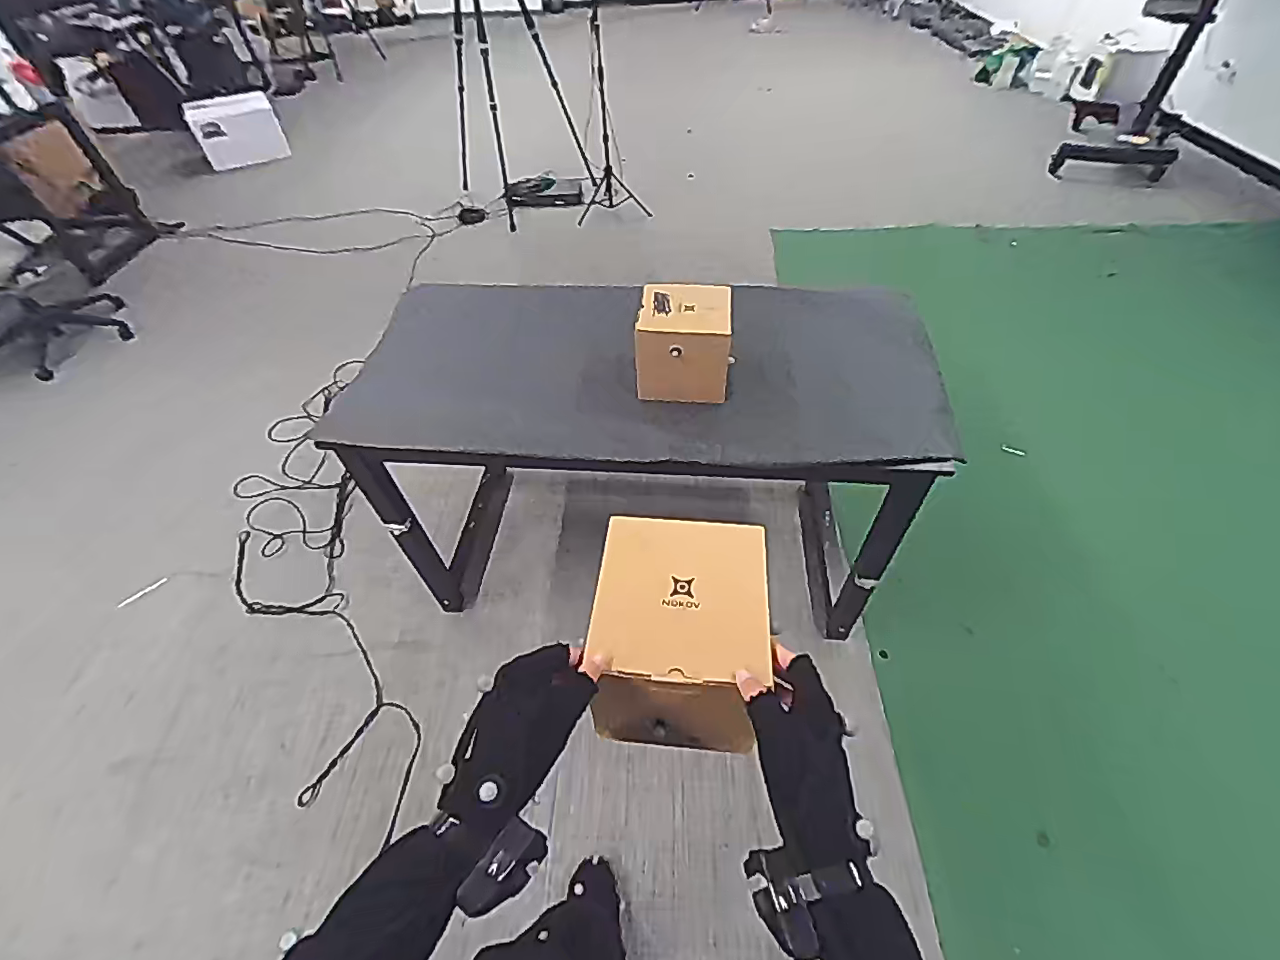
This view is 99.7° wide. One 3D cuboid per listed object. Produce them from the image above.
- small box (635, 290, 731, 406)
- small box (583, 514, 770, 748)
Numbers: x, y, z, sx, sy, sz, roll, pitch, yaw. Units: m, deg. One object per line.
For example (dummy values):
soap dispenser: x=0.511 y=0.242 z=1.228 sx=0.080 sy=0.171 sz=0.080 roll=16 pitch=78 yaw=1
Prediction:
small box: x=0.089 y=-0.266 z=1.095 sx=0.179 sy=0.176 sz=0.168 roll=4 pitch=49 yaw=6
small box: x=0.040 y=0.160 z=0.579 sx=0.168 sy=0.176 sz=0.179 roll=4 pitch=47 yaw=5
